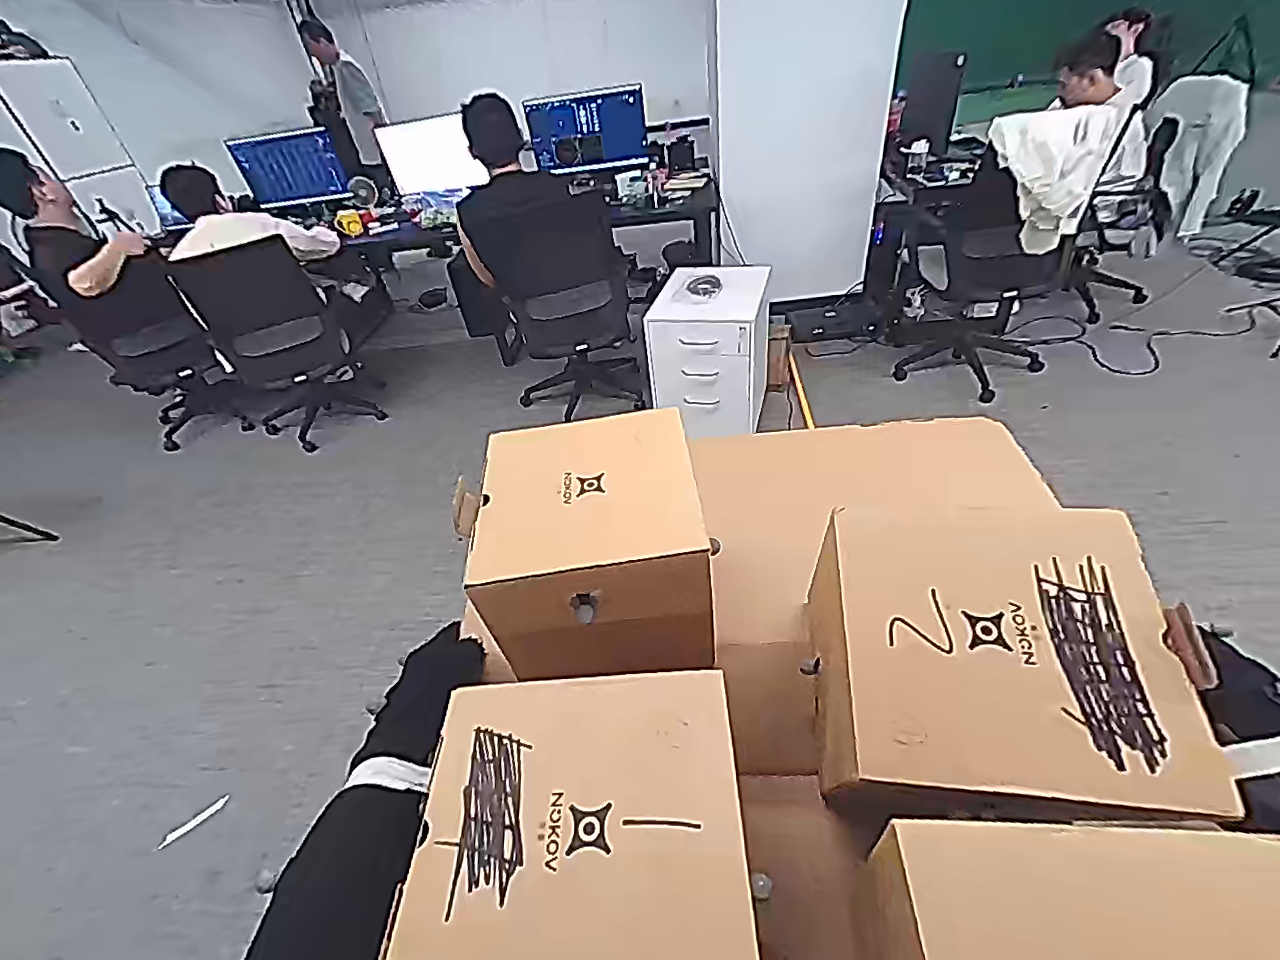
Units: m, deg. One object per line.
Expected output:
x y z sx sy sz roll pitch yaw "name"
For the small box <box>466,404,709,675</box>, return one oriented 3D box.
-0.034 0.057 0.494 0.179 0.176 0.168 -9 44 3 "small box"
